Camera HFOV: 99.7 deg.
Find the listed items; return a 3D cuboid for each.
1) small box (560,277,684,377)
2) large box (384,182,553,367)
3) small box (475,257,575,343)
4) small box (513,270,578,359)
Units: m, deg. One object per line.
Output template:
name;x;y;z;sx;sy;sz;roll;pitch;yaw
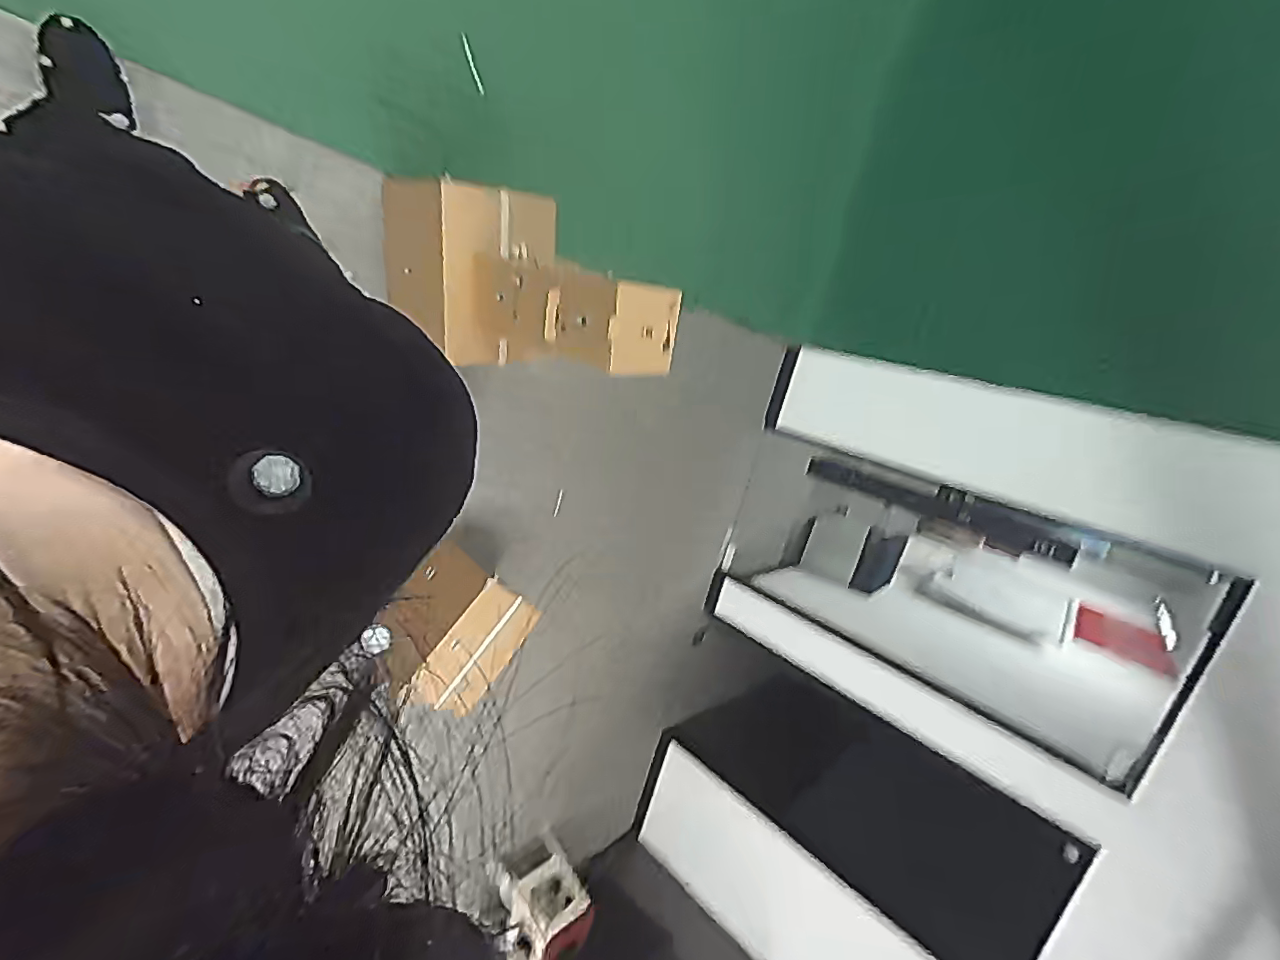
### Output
small box;-0.041;-0.308;1.091;0.179;0.176;0.168;-10;118;-44
large box;-0.448;-0.534;1.427;0.320;0.320;0.408;-17;121;-45
small box;-0.277;-0.425;1.287;0.168;0.176;0.179;-11;118;-44
small box;-0.160;-0.360;1.193;0.179;0.176;0.168;-9;117;-45
